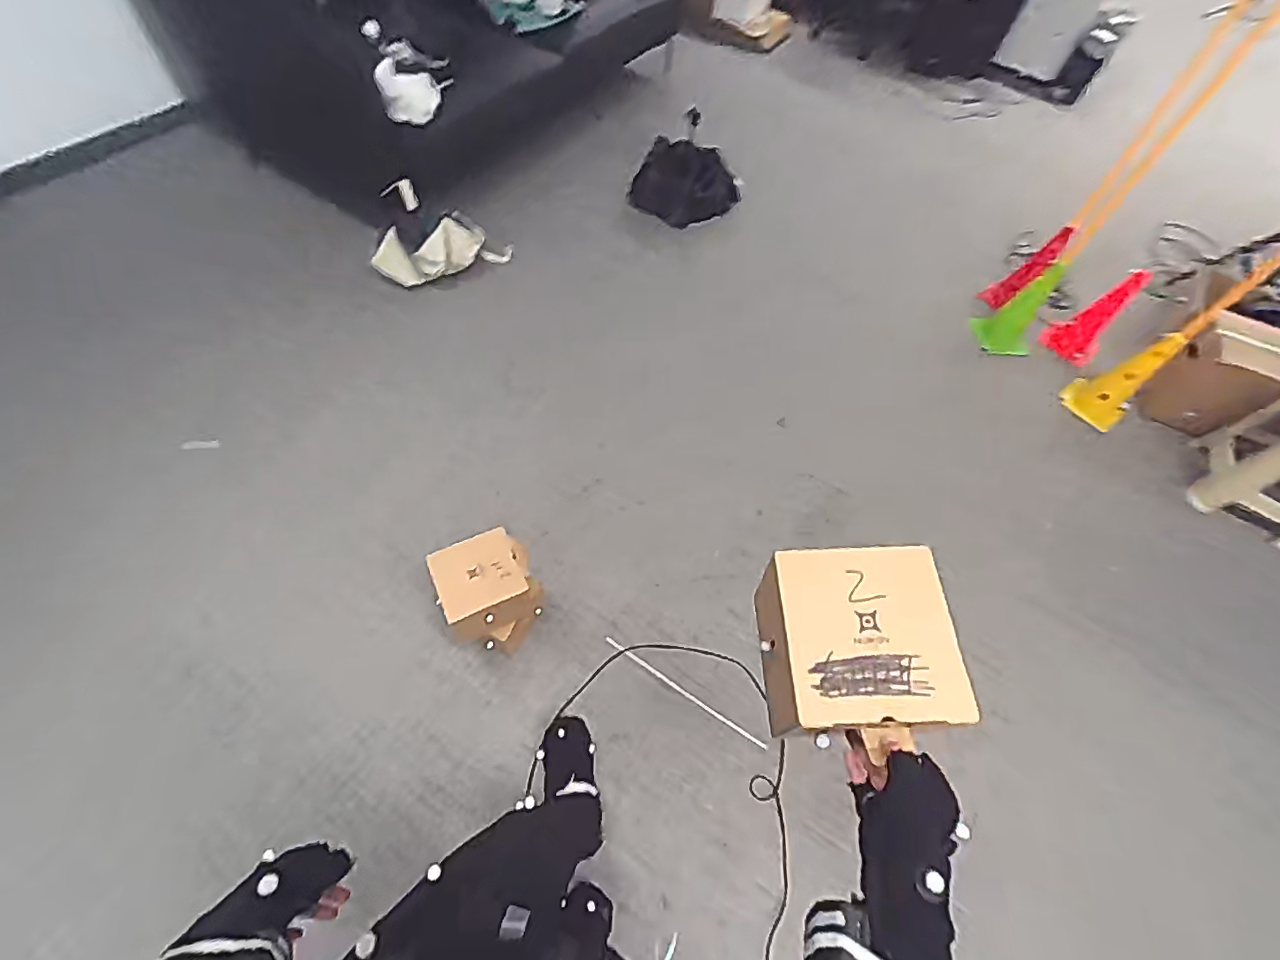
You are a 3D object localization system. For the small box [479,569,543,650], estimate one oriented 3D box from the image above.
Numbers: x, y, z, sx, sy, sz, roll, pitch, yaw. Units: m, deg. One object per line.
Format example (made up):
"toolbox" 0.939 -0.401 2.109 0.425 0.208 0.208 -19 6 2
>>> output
"small box" -0.356 0.305 1.351 0.179 0.176 0.168 27 60 10

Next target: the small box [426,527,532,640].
"small box" -0.355 0.237 1.218 0.179 0.176 0.168 -21 64 -19
